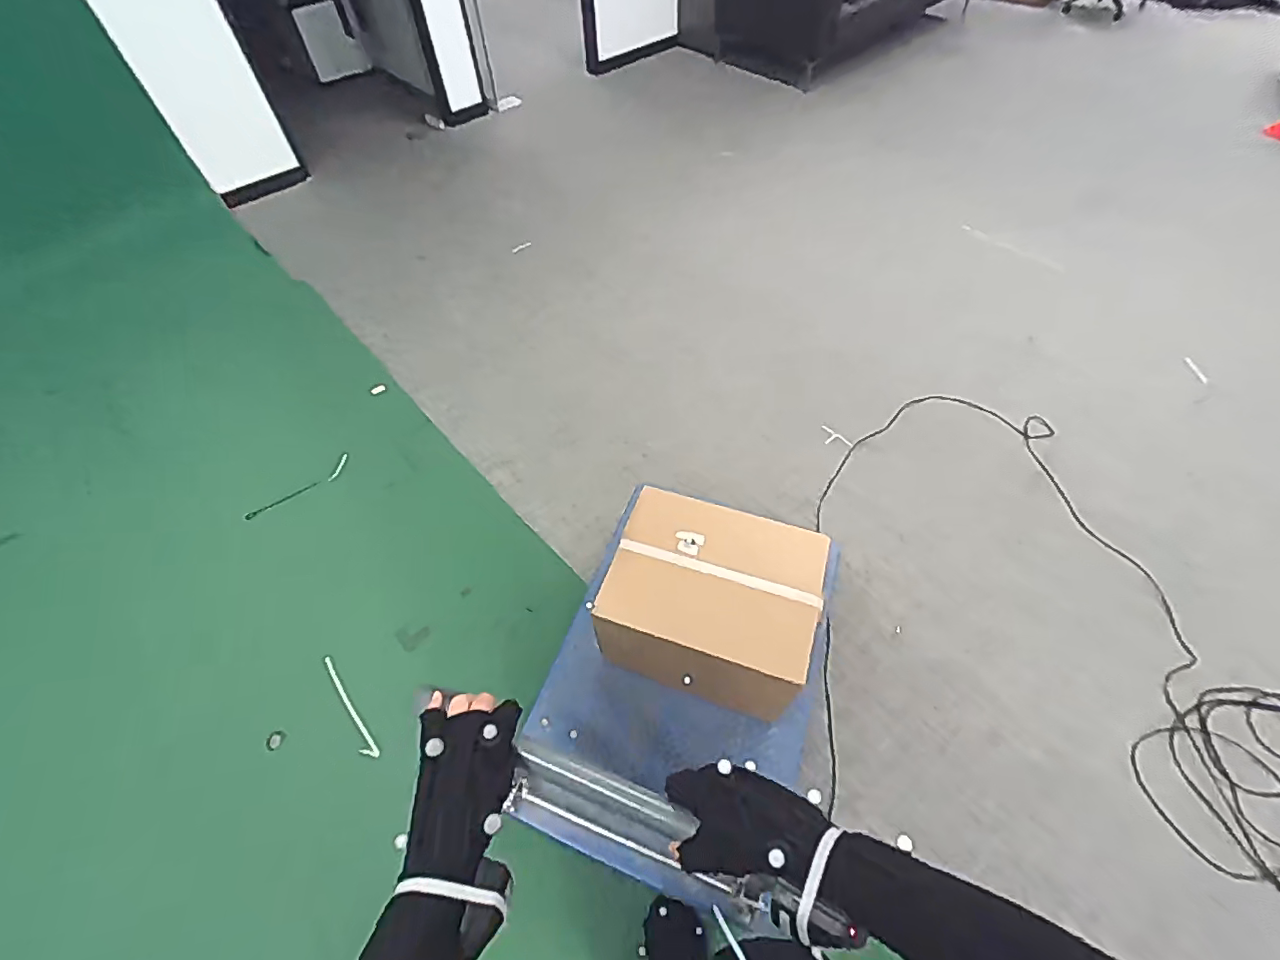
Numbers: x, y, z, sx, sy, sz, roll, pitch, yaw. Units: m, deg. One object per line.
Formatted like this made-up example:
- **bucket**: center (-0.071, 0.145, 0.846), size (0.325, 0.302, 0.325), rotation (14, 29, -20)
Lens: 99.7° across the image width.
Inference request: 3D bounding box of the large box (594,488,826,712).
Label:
- **large box**: center (0.155, 0.267, 1.187), size (0.408, 0.320, 0.320), rotation (15, 56, 13)
